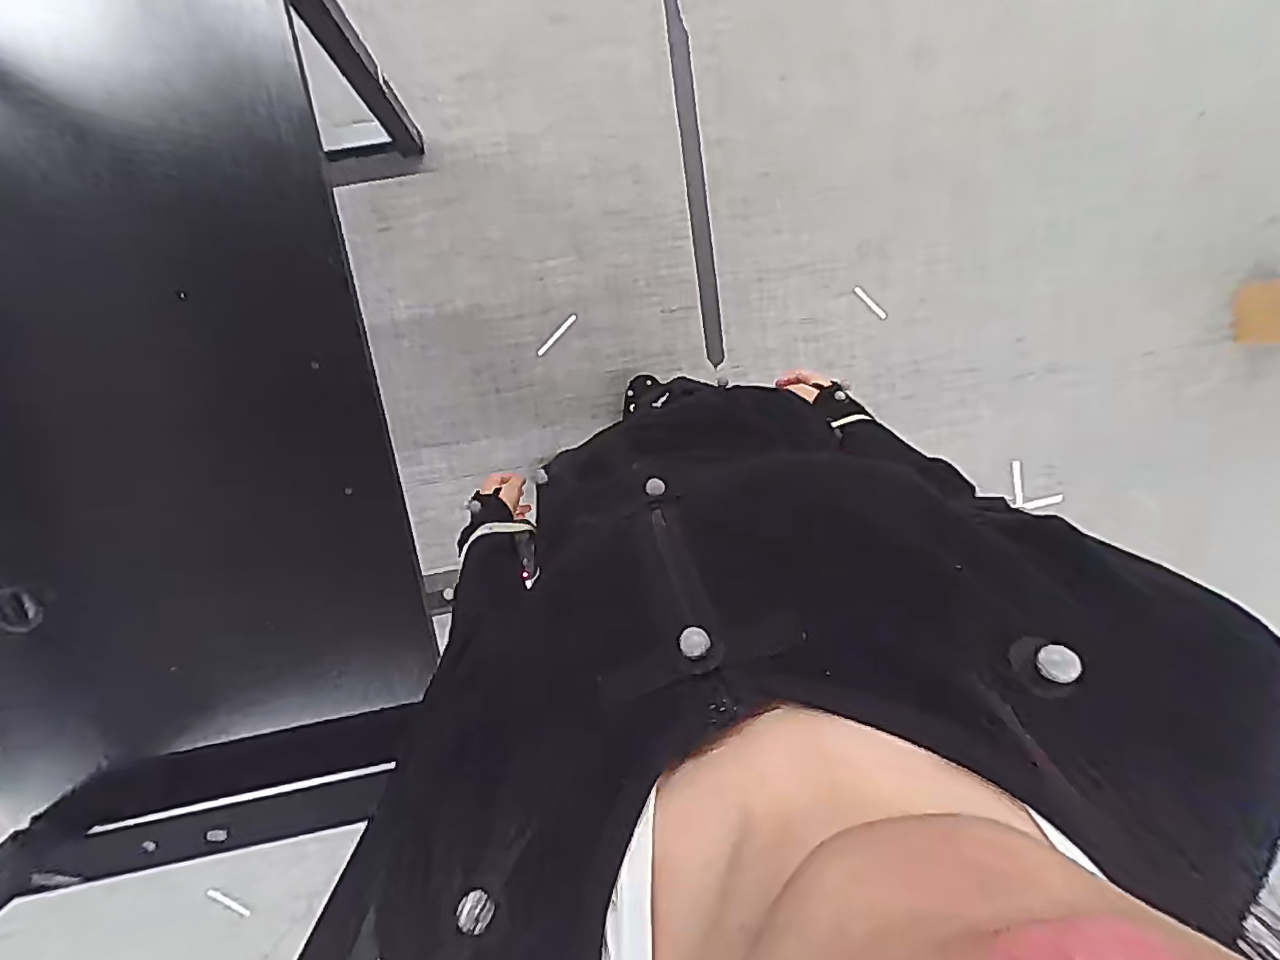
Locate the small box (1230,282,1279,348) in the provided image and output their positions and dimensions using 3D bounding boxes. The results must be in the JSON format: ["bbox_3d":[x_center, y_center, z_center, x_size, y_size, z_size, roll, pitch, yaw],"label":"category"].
[{"bbox_3d":[1.842,-0.477,1.536,0.168,0.176,0.179,-10,98,-4],"label":"small box"}]
